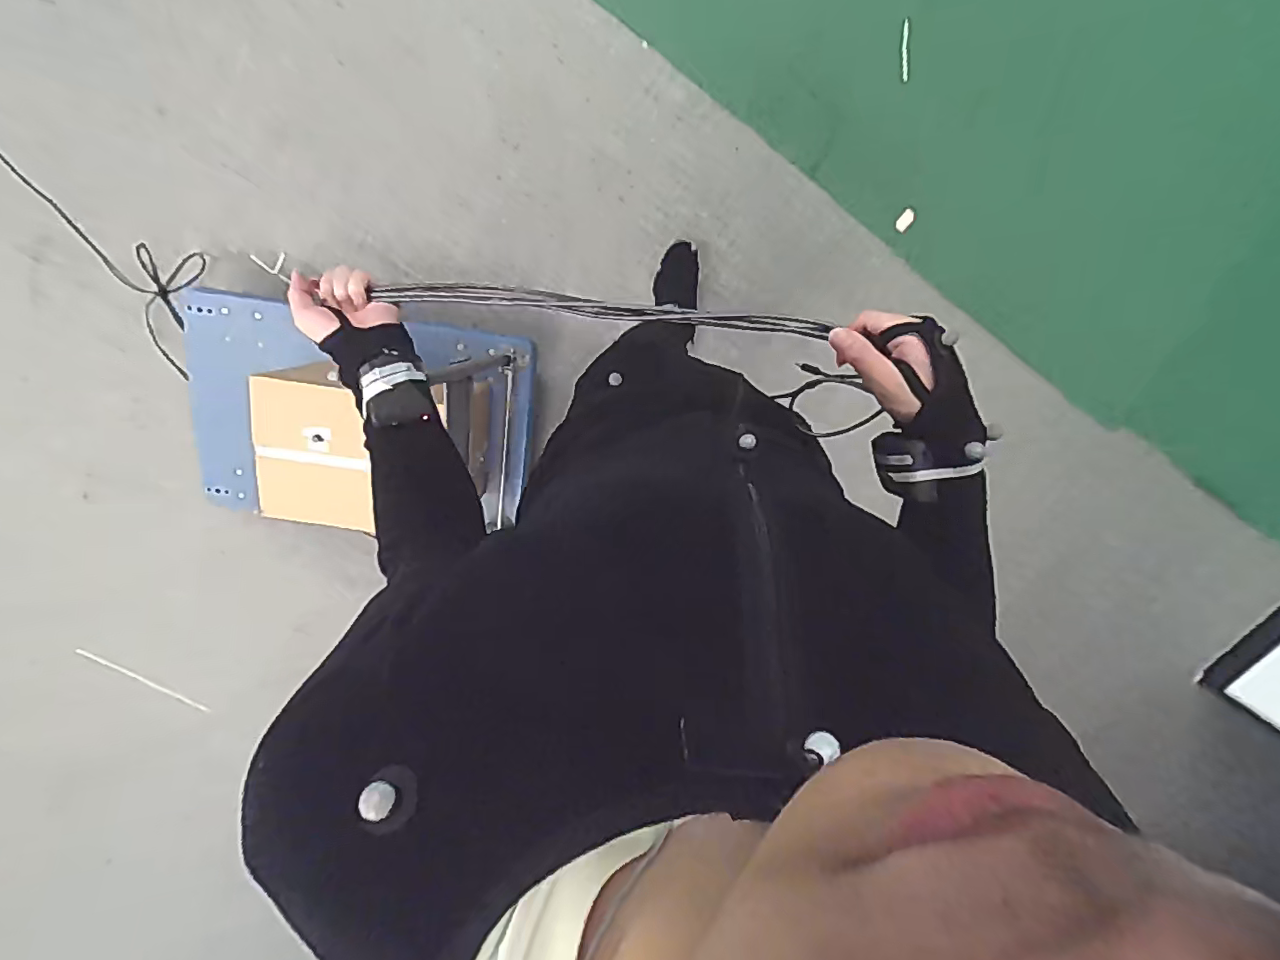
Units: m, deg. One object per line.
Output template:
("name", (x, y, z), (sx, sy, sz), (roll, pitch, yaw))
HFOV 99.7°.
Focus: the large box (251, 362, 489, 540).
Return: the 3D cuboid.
("large box", (-0.596, -0.083, 1.269), (0.408, 0.320, 0.320), (8, 107, -1))
